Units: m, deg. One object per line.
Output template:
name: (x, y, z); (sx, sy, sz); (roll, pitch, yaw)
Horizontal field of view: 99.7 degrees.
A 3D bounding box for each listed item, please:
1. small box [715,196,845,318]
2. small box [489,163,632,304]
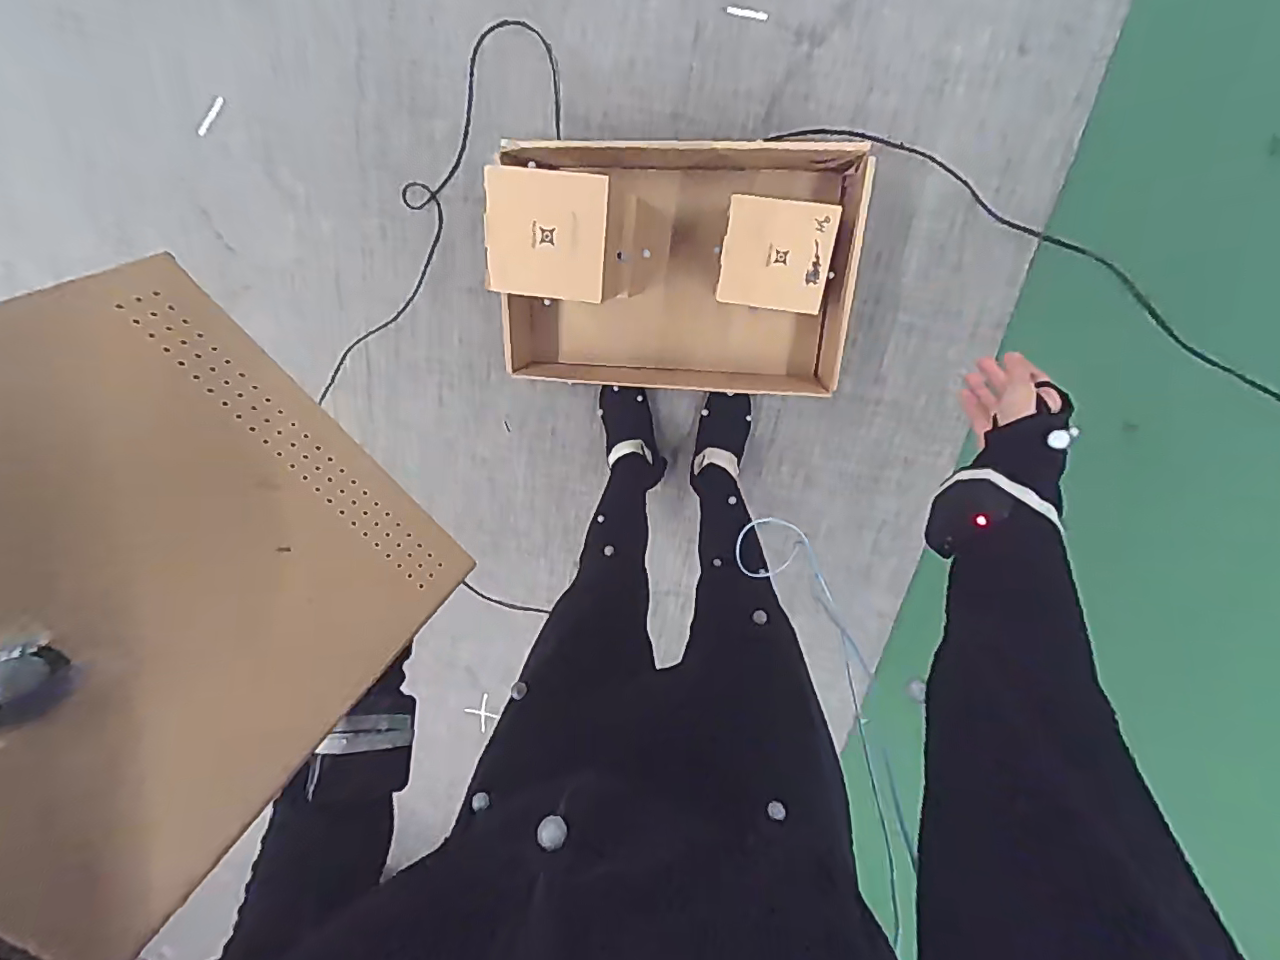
small box: (0.235, -0.385, 0.950); (0.179, 0.176, 0.168); (10, 111, 5)
small box: (-0.117, -0.371, 0.830); (0.179, 0.176, 0.168); (9, 113, 4)
